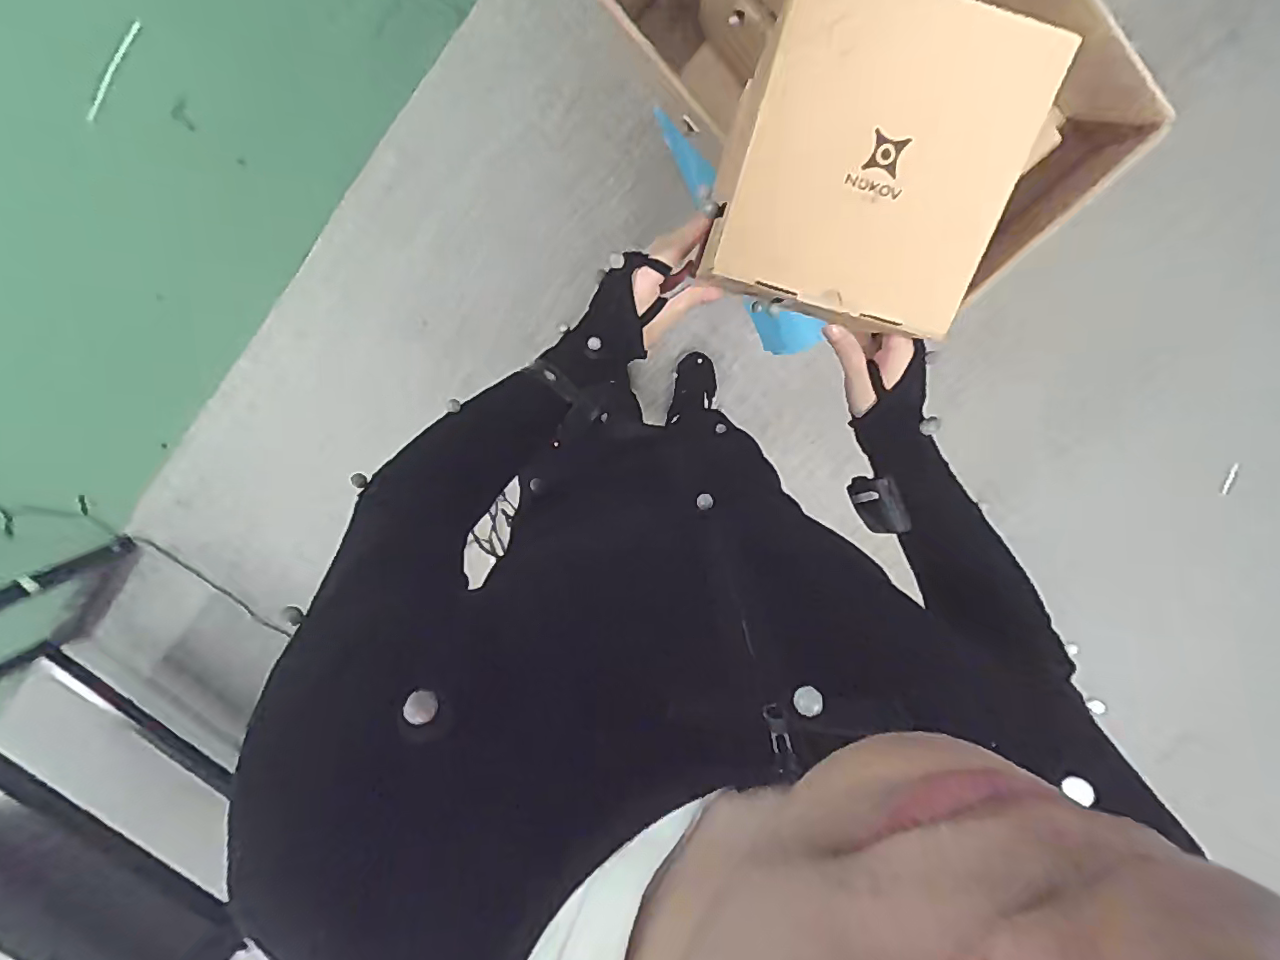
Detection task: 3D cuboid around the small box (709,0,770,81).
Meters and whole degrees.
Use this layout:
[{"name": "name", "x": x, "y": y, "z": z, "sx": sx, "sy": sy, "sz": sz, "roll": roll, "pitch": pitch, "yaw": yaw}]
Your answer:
[{"name": "small box", "x": 0.201, "y": -0.615, "z": 0.679, "sx": 0.179, "sy": 0.176, "sz": 0.168, "roll": -43, "pitch": 99, "yaw": 14}]

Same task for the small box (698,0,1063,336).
[{"name": "small box", "x": 0.145, "y": -0.221, "z": 0.405, "sx": 0.168, "sy": 0.176, "sz": 0.179, "roll": 15, "pitch": 110, "yaw": -2}]
